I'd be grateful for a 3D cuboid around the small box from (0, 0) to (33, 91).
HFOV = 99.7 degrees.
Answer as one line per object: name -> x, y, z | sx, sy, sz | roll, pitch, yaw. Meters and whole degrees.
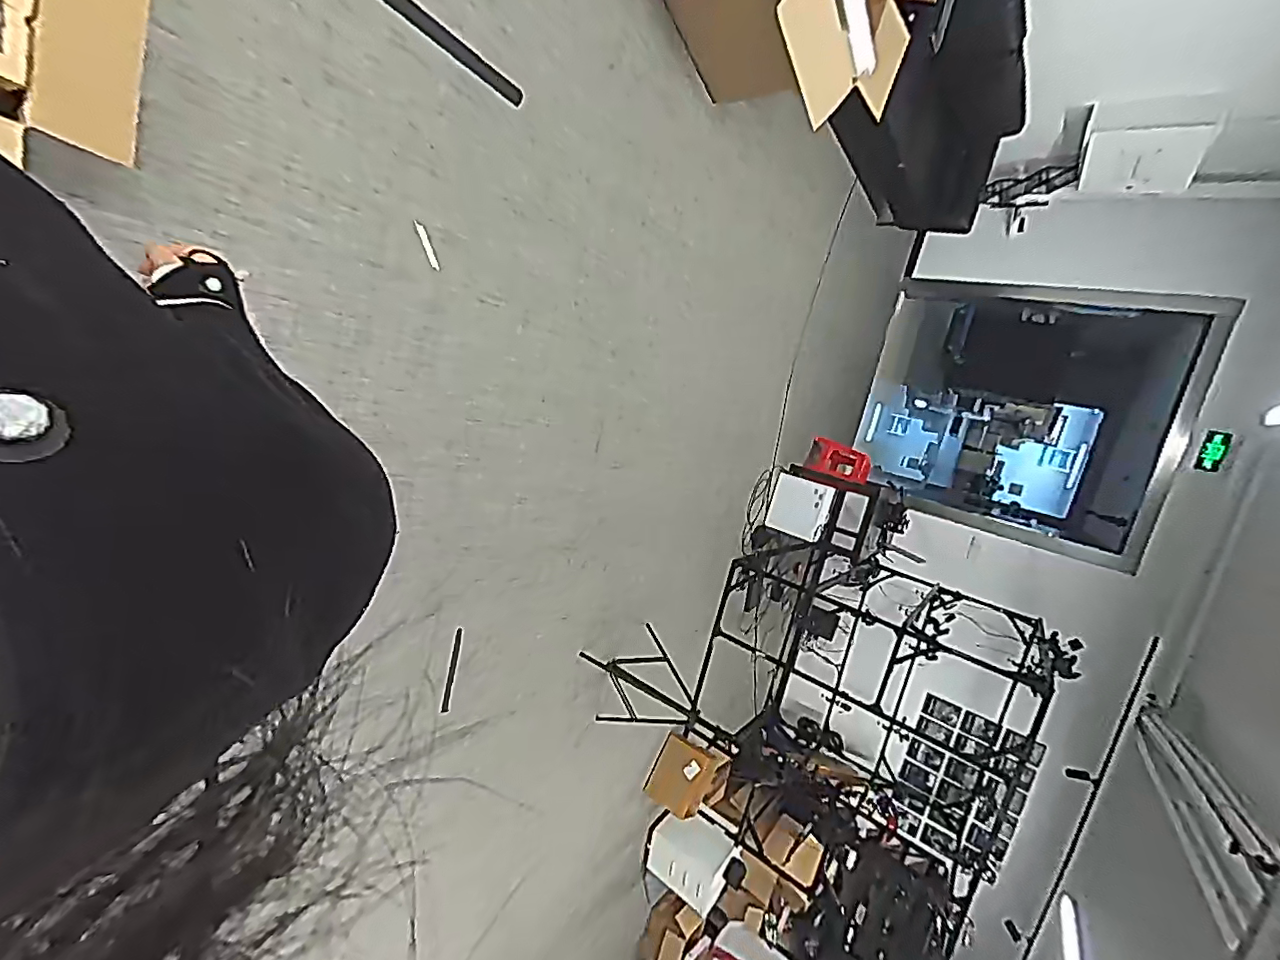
small box -> -0.914, -0.623, 0.675 | 0.179, 0.176, 0.168 | 5, 101, -59
